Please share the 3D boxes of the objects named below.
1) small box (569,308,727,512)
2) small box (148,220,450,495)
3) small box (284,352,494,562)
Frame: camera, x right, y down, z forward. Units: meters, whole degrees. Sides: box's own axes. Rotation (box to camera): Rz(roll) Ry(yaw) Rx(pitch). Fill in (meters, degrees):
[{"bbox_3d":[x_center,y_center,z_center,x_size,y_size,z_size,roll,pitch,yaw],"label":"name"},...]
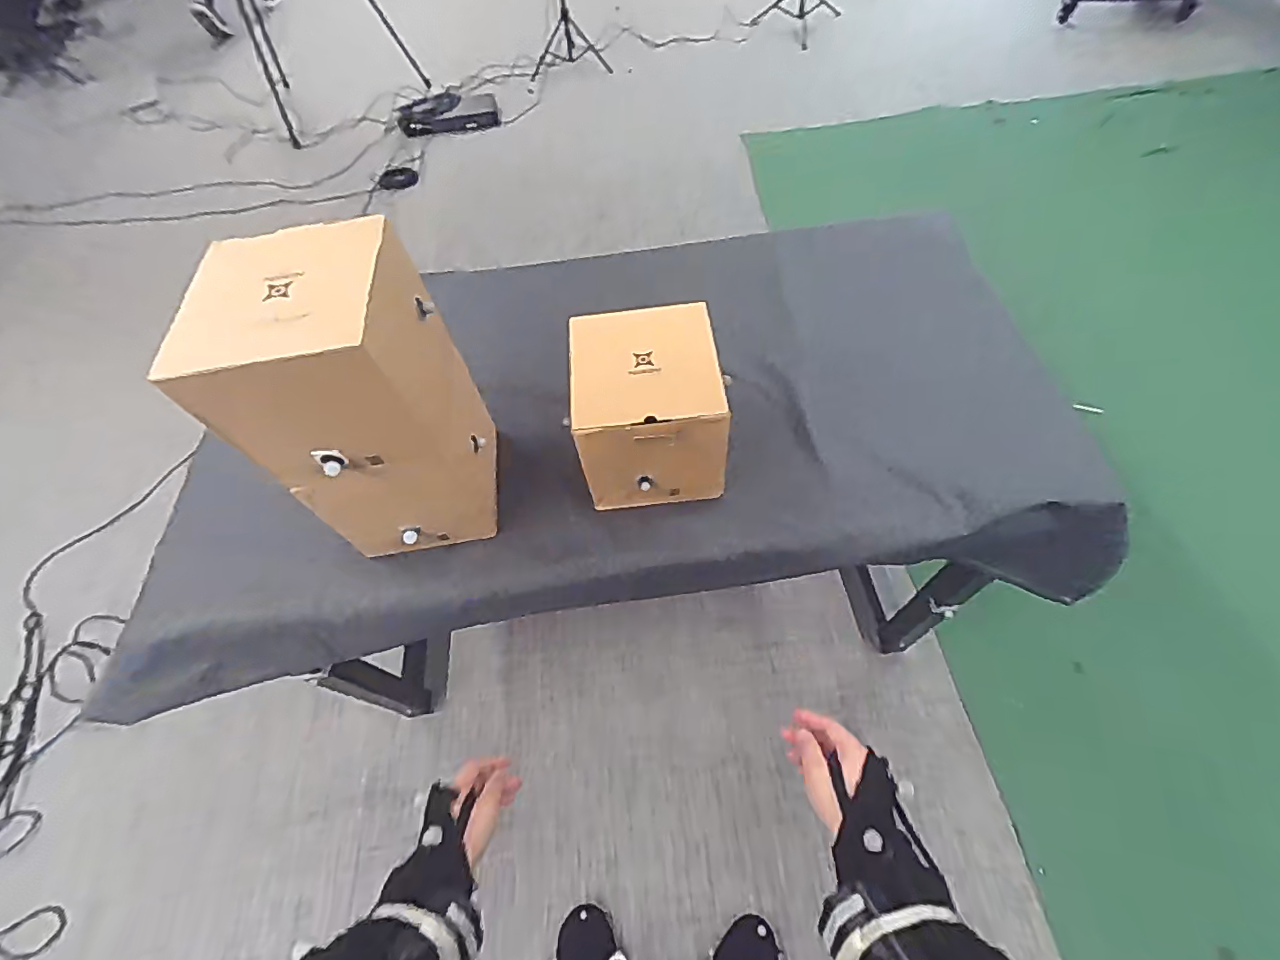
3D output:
[{"bbox_3d":[0.006,-0.082,0.666,0.168,0.176,0.179,-7,58,0],"label":"small box"},{"bbox_3d":[-0.293,-0.110,0.515,0.168,0.176,0.179,-11,58,0],"label":"small box"},{"bbox_3d":[-0.281,-0.023,0.651,0.168,0.176,0.179,-10,58,-1],"label":"small box"}]
